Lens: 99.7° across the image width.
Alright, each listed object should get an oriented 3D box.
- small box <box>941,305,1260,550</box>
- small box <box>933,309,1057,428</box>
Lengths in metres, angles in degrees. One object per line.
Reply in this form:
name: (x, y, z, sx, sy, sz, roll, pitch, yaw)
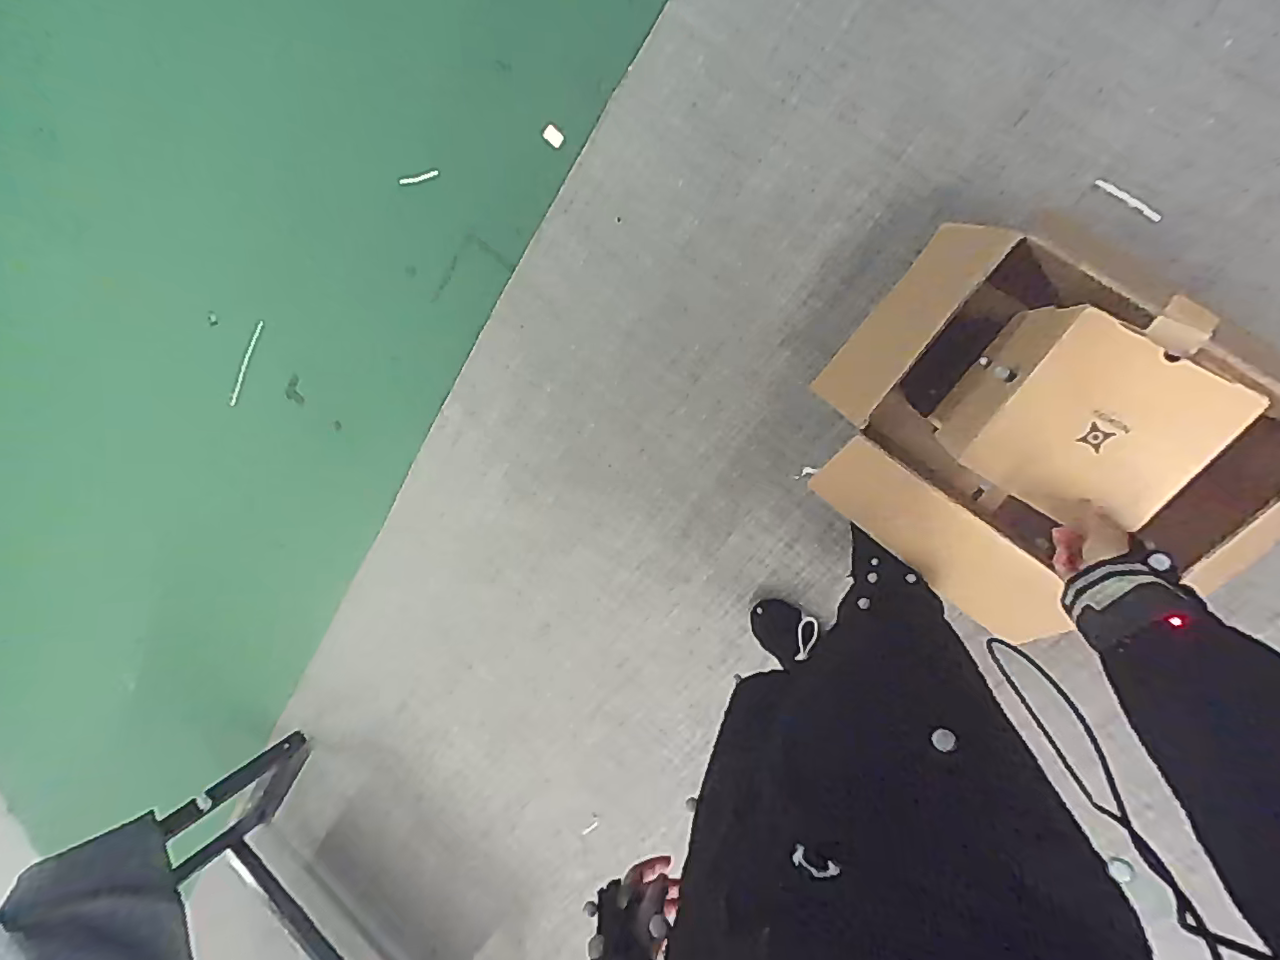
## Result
small box: (0.451, -0.059, 0.575, 0.168, 0.176, 0.179, 34, 111, 11)
small box: (0.520, -0.103, 0.716, 0.168, 0.176, 0.179, 37, 113, 10)
